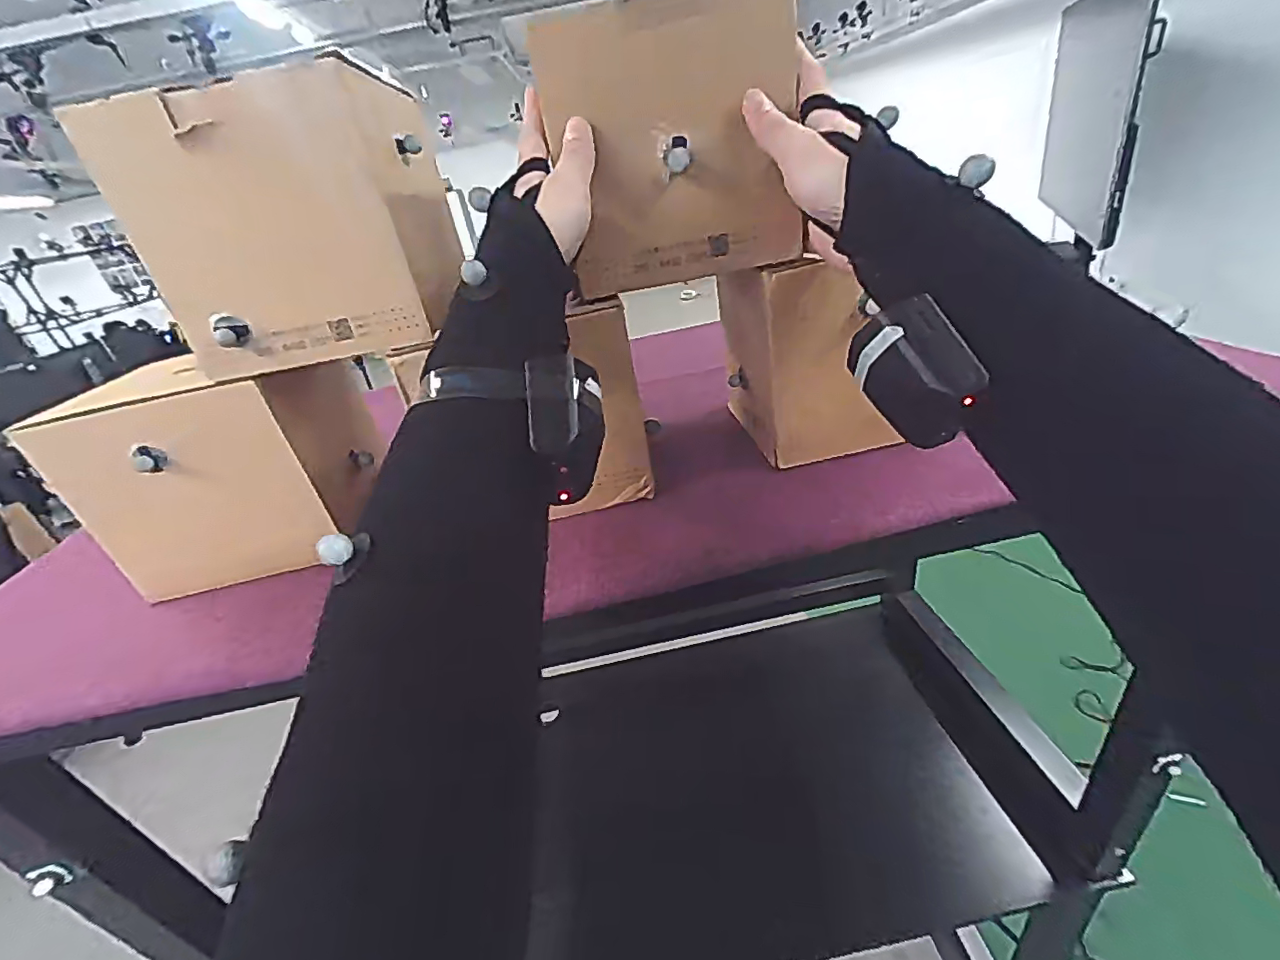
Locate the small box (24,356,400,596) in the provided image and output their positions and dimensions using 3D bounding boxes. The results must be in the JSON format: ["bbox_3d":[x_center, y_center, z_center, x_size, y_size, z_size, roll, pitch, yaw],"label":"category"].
[{"bbox_3d":[-0.355,-0.017,0.497,0.179,0.176,0.168,-14,31,-2],"label":"small box"}]

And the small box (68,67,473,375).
[{"bbox_3d":[-0.246,-0.189,0.423,0.168,0.176,0.179,-11,29,0],"label":"small box"}]

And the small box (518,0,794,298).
[{"bbox_3d":[0.018,-0.252,0.429,0.168,0.176,0.179,-10,29,4],"label":"small box"}]

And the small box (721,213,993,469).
[{"bbox_3d":[0.180,-0.132,0.499,0.179,0.176,0.168,-14,29,1],"label":"small box"}]

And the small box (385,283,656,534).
[{"bbox_3d":[-0.092,-0.069,0.493,0.179,0.176,0.168,-12,30,-1],"label":"small box"}]
